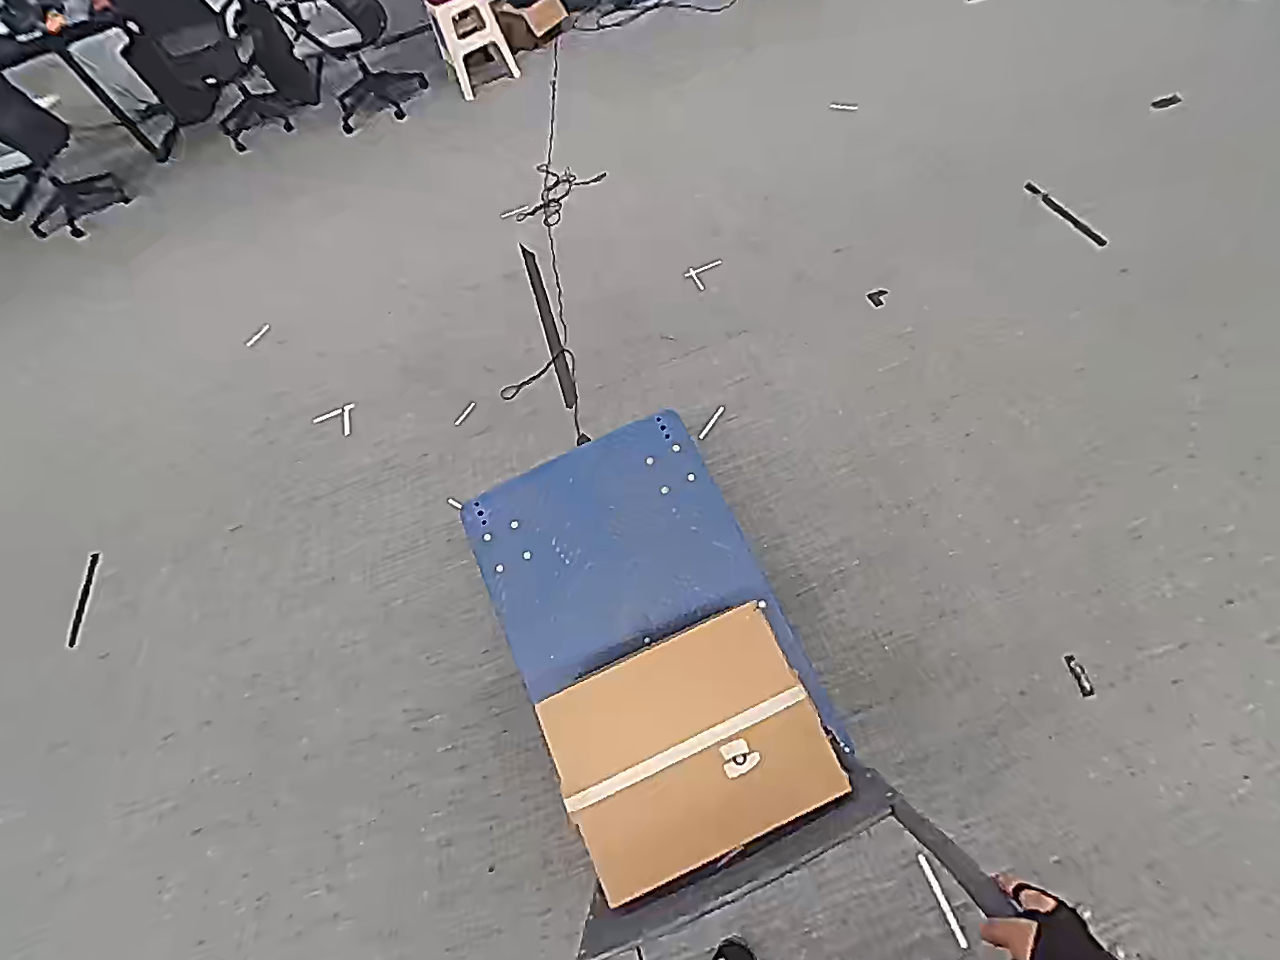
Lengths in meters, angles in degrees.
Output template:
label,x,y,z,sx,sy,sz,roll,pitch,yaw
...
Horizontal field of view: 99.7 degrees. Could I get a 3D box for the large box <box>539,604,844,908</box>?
label,x,y,z,sx,sy,sz,roll,pitch,yaw
large box,0.082,0.463,0.996,0.408,0.320,0.320,-25,76,-4
